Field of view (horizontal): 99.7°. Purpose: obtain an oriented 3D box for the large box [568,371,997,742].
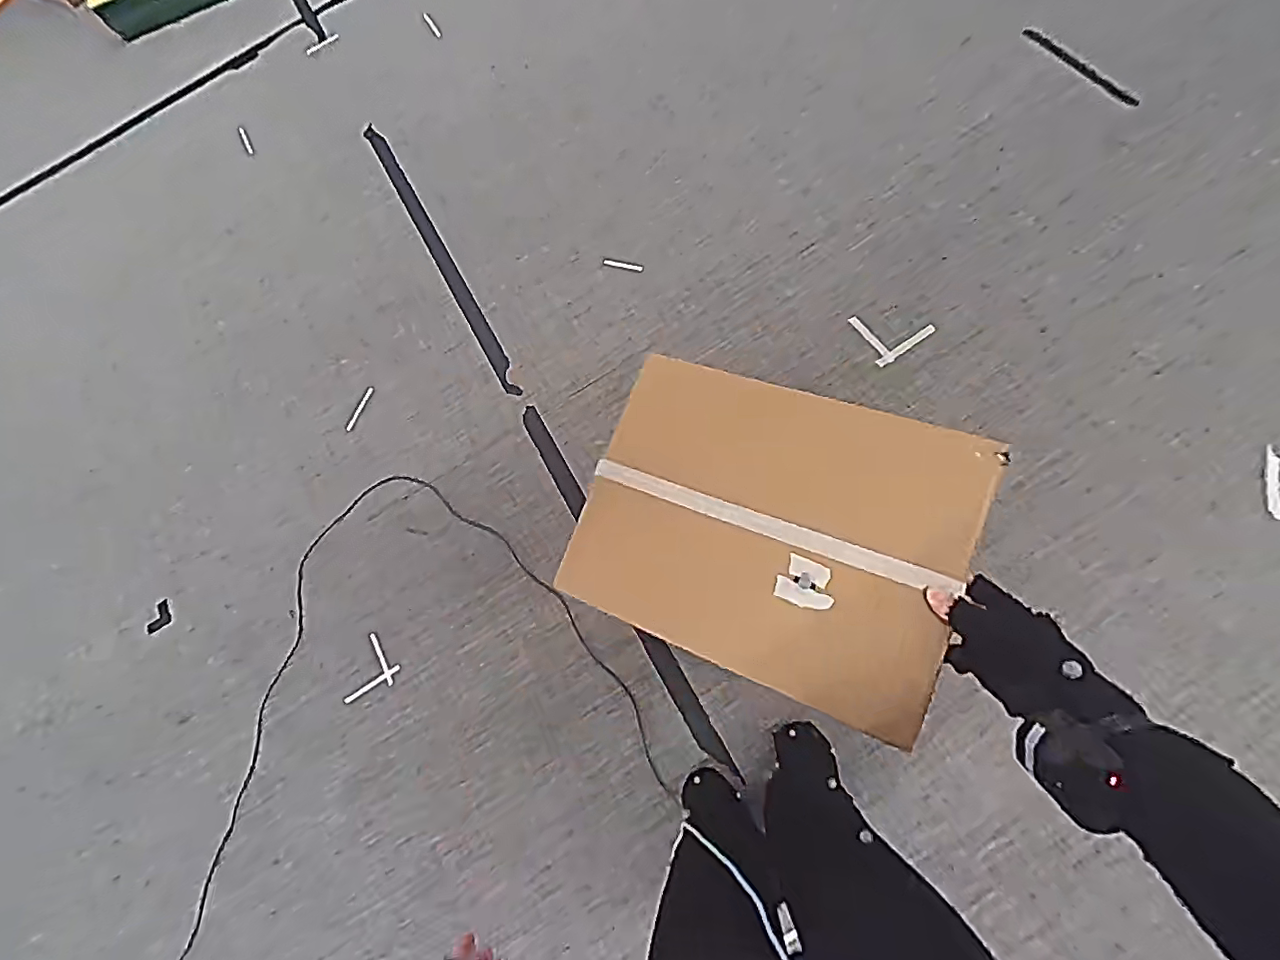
[{"bbox_3d":[0.180,0.092,0.745,0.408,0.320,0.320,19,83,21],"label":"large box"}]
